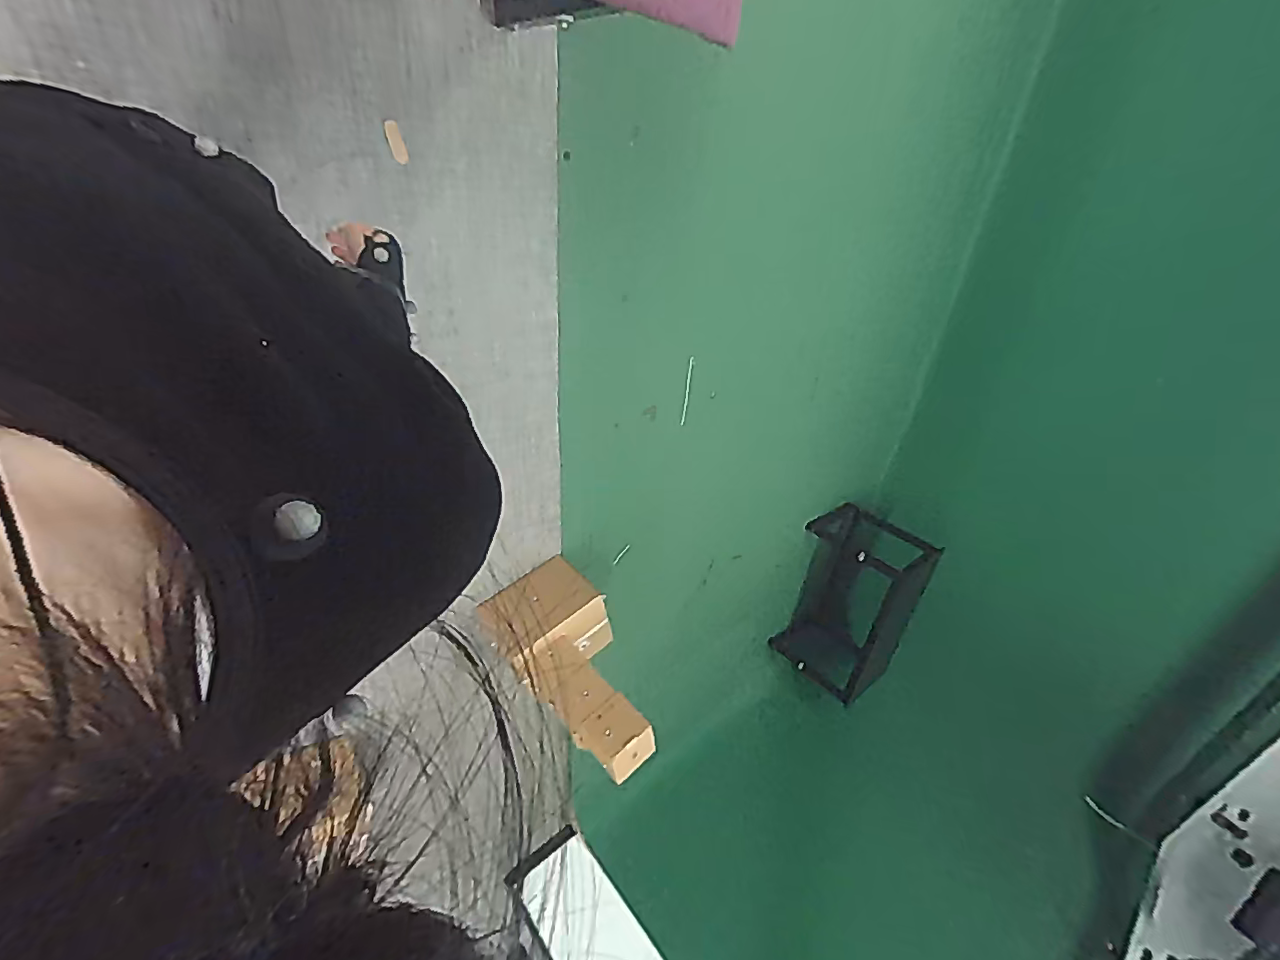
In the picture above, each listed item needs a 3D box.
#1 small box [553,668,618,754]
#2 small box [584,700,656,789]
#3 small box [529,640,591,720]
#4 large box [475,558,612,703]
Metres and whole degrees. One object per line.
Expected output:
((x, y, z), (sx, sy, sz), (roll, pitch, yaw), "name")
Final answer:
((-0.184, 0.796, 1.874), (0.179, 0.176, 0.168), (-34, 135, -27), "small box")
((-0.068, 0.859, 1.777), (0.168, 0.176, 0.179), (-32, 135, -28), "small box")
((-0.290, 0.727, 1.978), (0.179, 0.176, 0.168), (-29, 134, -29), "small box")
((-0.383, 0.595, 2.182), (0.408, 0.320, 0.320), (-34, 137, -27), "large box")
